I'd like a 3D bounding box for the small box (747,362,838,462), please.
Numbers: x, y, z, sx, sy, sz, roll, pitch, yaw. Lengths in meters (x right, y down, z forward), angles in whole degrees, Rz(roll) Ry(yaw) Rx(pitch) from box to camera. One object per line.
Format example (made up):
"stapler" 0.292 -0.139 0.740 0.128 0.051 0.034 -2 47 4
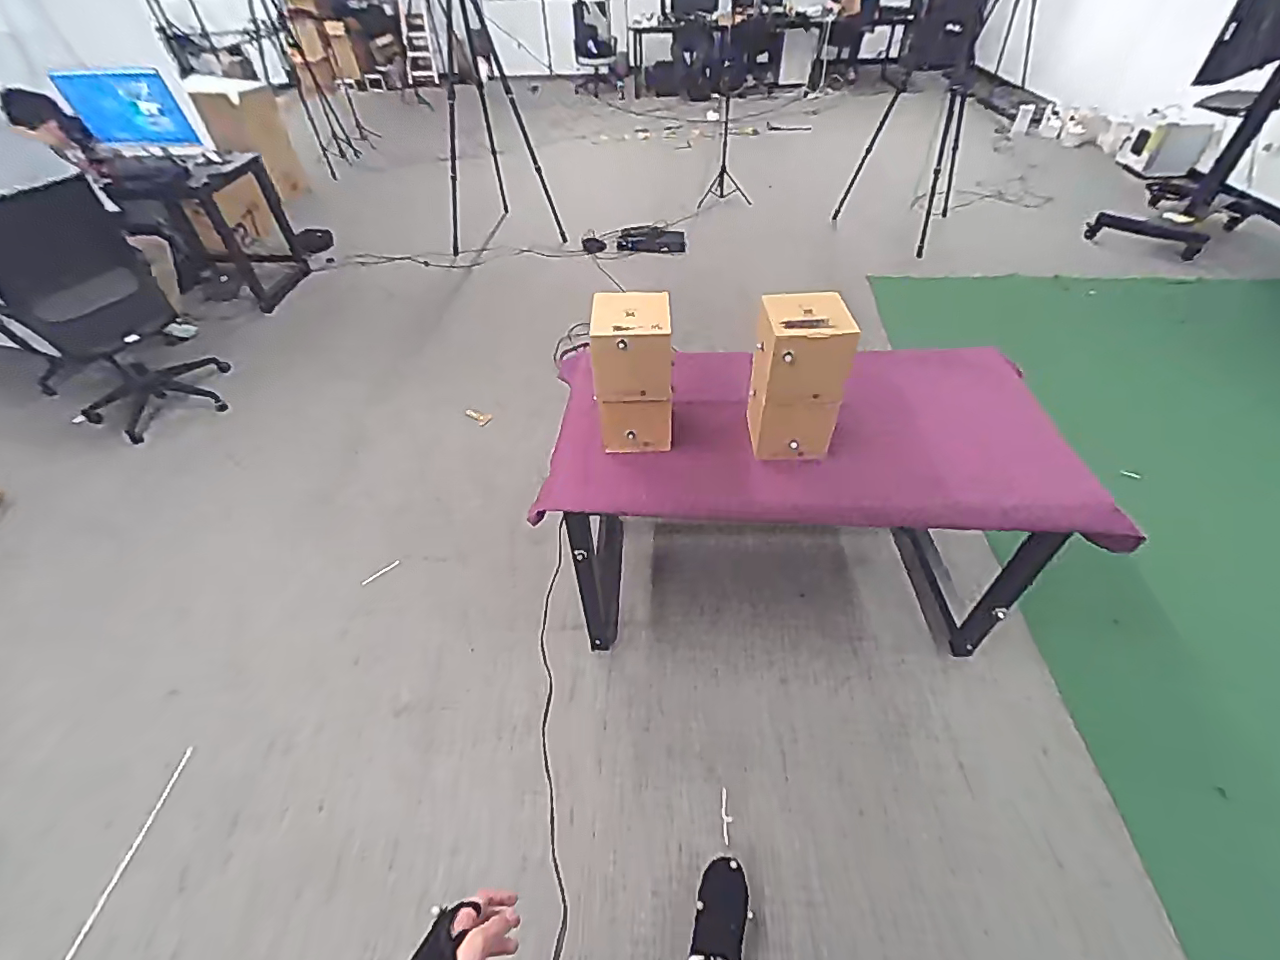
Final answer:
"small box" 0.348 -0.160 1.272 0.168 0.176 0.179 -1 45 3

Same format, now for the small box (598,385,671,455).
"small box" -0.013 -0.180 1.313 0.168 0.176 0.179 -2 46 0

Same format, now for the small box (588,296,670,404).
"small box" -0.020 -0.286 1.187 0.168 0.176 0.179 -1 45 2
